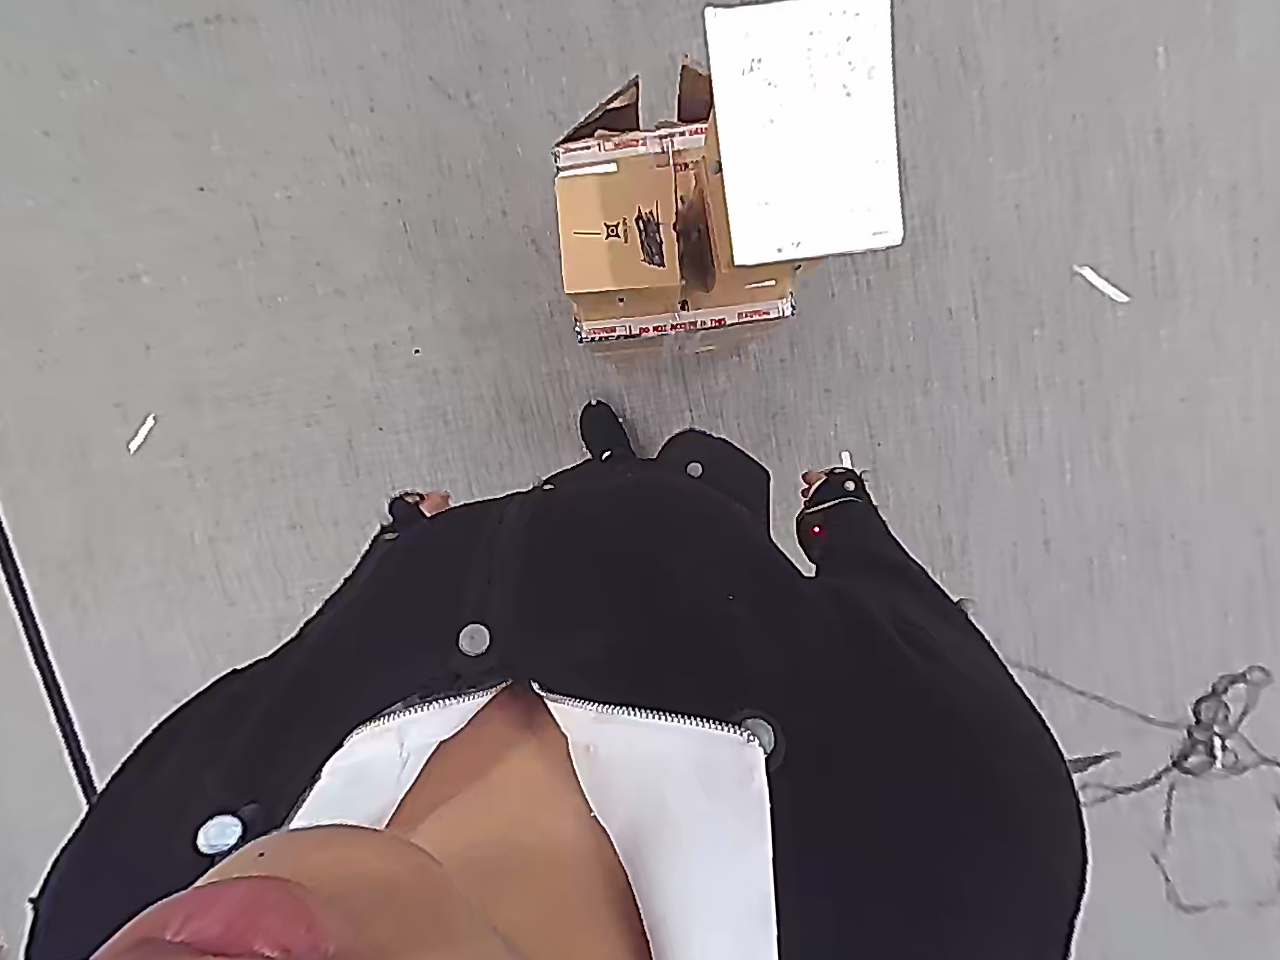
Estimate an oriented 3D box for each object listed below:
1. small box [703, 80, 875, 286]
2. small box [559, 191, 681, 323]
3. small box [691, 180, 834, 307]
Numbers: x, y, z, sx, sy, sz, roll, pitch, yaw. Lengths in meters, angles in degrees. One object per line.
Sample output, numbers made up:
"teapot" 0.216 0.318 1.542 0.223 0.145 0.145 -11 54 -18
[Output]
"small box" 0.183 -0.372 0.710 0.168 0.176 0.179 -10 98 1
"small box" -0.026 -0.353 0.882 0.179 0.176 0.168 -3 100 3
"small box" 0.188 -0.389 0.872 0.179 0.176 0.168 -12 98 2
